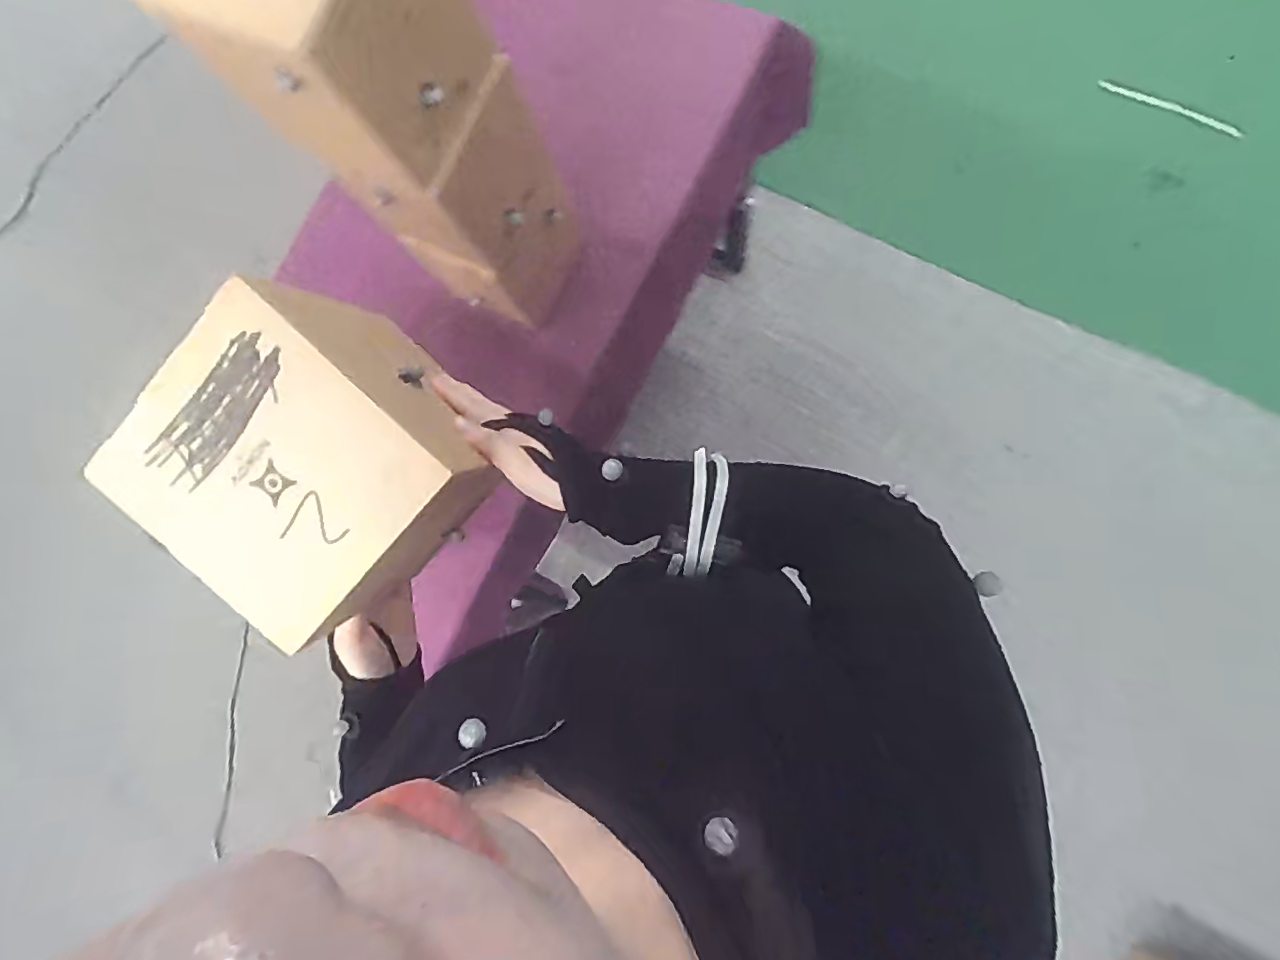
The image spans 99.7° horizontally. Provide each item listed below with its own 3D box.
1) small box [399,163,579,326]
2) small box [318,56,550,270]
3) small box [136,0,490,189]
[{"bbox_3d":[-0.207,-0.361,0.800,0.168,0.176,0.179,27,88,12],"label":"small box"},{"bbox_3d":[-0.236,-0.380,0.641,0.179,0.176,0.168,26,89,11],"label":"small box"},{"bbox_3d":[-0.269,-0.398,0.482,0.179,0.176,0.168,23,88,10],"label":"small box"}]
